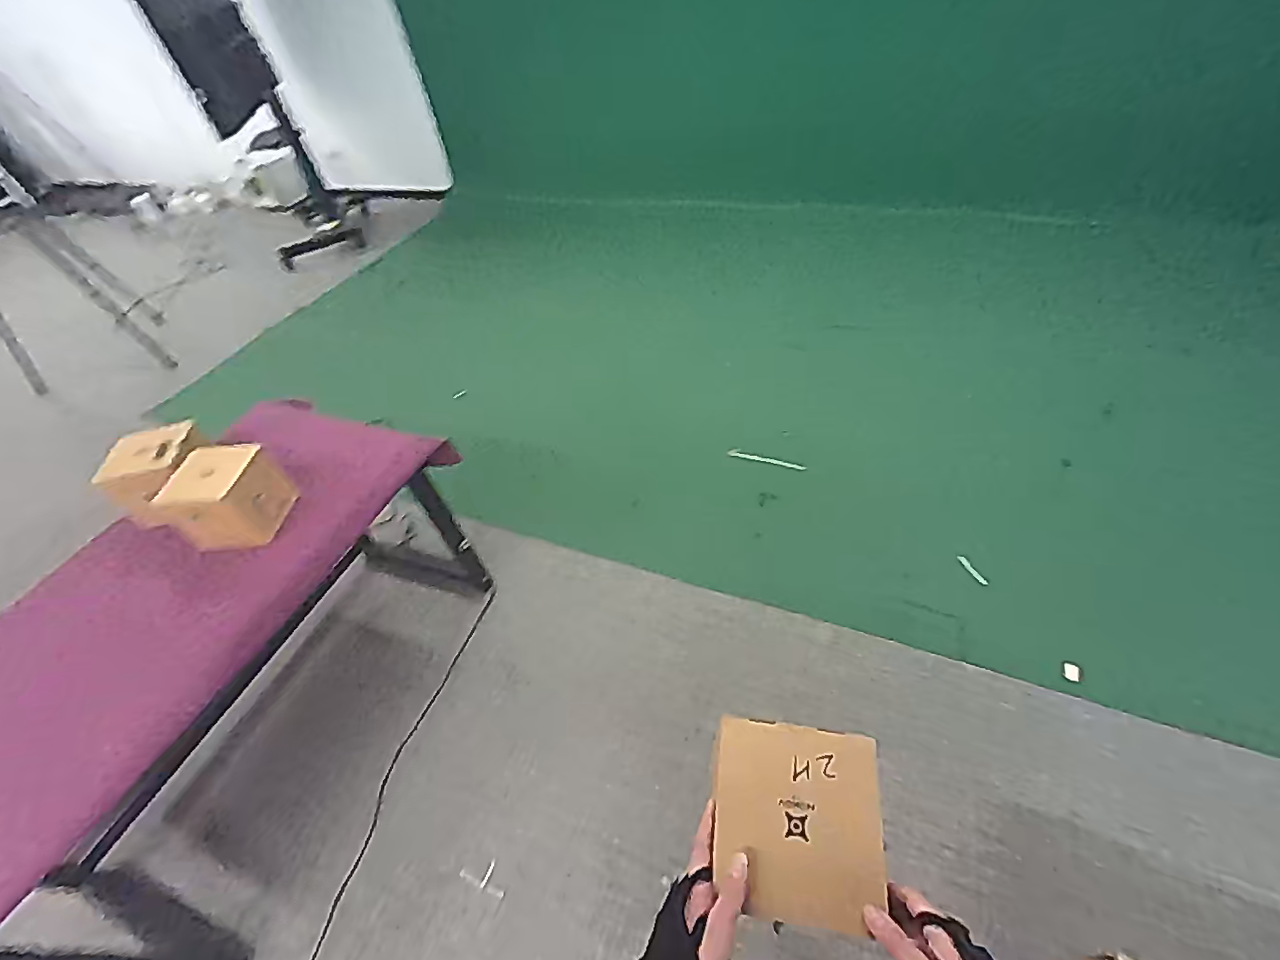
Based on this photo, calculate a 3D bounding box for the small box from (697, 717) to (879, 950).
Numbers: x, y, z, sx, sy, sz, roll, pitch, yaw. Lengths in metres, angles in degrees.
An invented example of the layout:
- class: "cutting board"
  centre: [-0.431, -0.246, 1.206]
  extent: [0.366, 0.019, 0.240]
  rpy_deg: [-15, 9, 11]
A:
- class: "small box"
  centre: [0.154, 0.384, 0.605]
  extent: [0.168, 0.176, 0.179]
  rpy_deg: [5, 57, 8]

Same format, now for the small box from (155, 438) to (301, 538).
- class: "small box"
  centre: [-0.938, 0.022, 1.254]
  extent: [0.179, 0.176, 0.168]
  rpy_deg: [-3, 48, 7]

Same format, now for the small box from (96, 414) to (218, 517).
- class: "small box"
  centre: [-1.151, -0.034, 1.333]
  extent: [0.179, 0.176, 0.168]
  rpy_deg: [-14, 47, -4]
